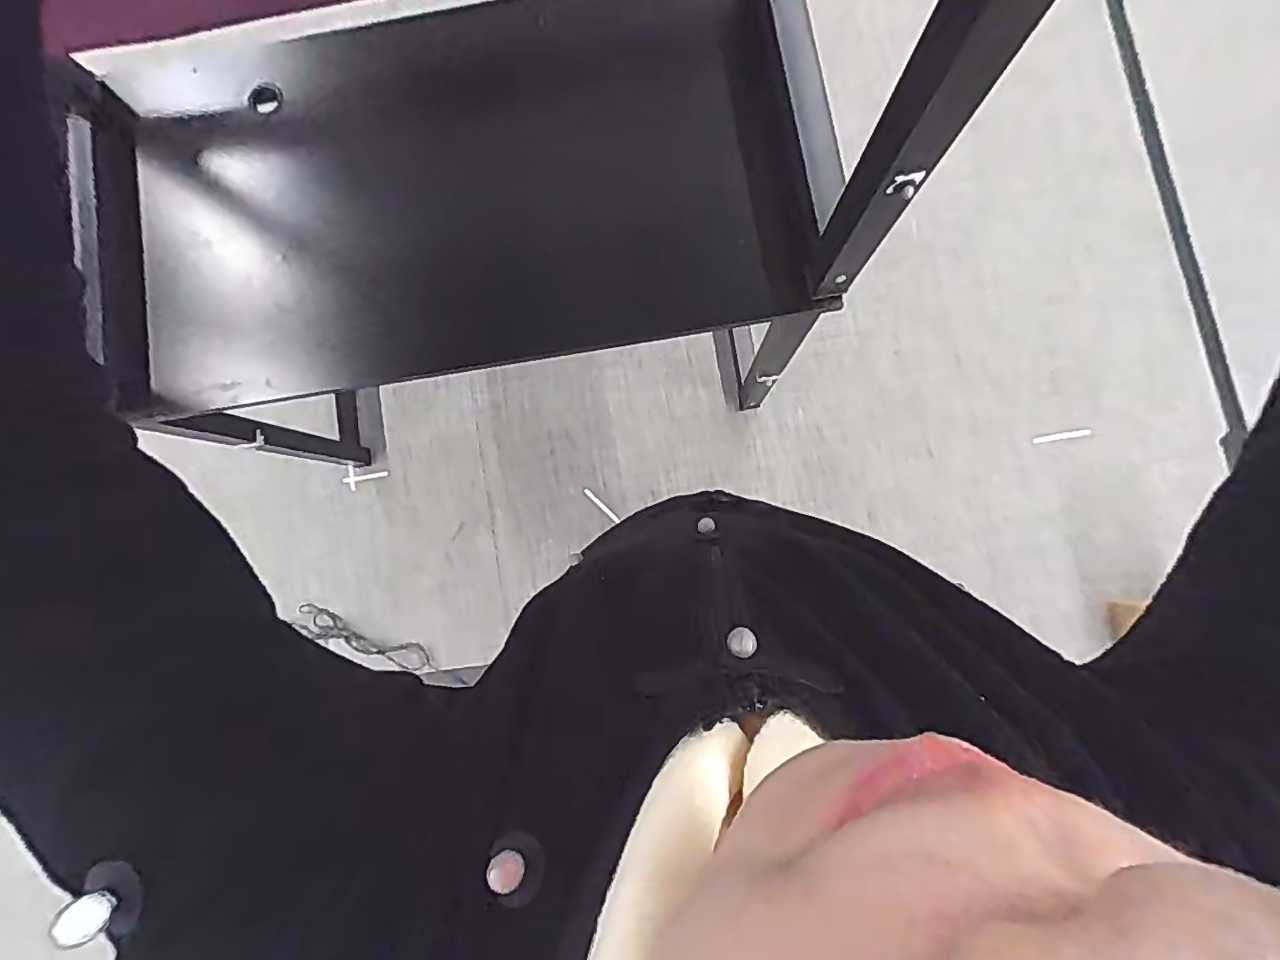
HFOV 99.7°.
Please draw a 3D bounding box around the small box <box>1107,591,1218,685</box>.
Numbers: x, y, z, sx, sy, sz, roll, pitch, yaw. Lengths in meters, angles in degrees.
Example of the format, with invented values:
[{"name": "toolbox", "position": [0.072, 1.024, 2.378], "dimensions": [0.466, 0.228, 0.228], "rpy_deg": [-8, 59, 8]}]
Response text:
[{"name": "small box", "position": [1.316, 0.383, 1.334], "dimensions": [0.168, 0.176, 0.179], "rpy_deg": [-10, 85, 2]}]
